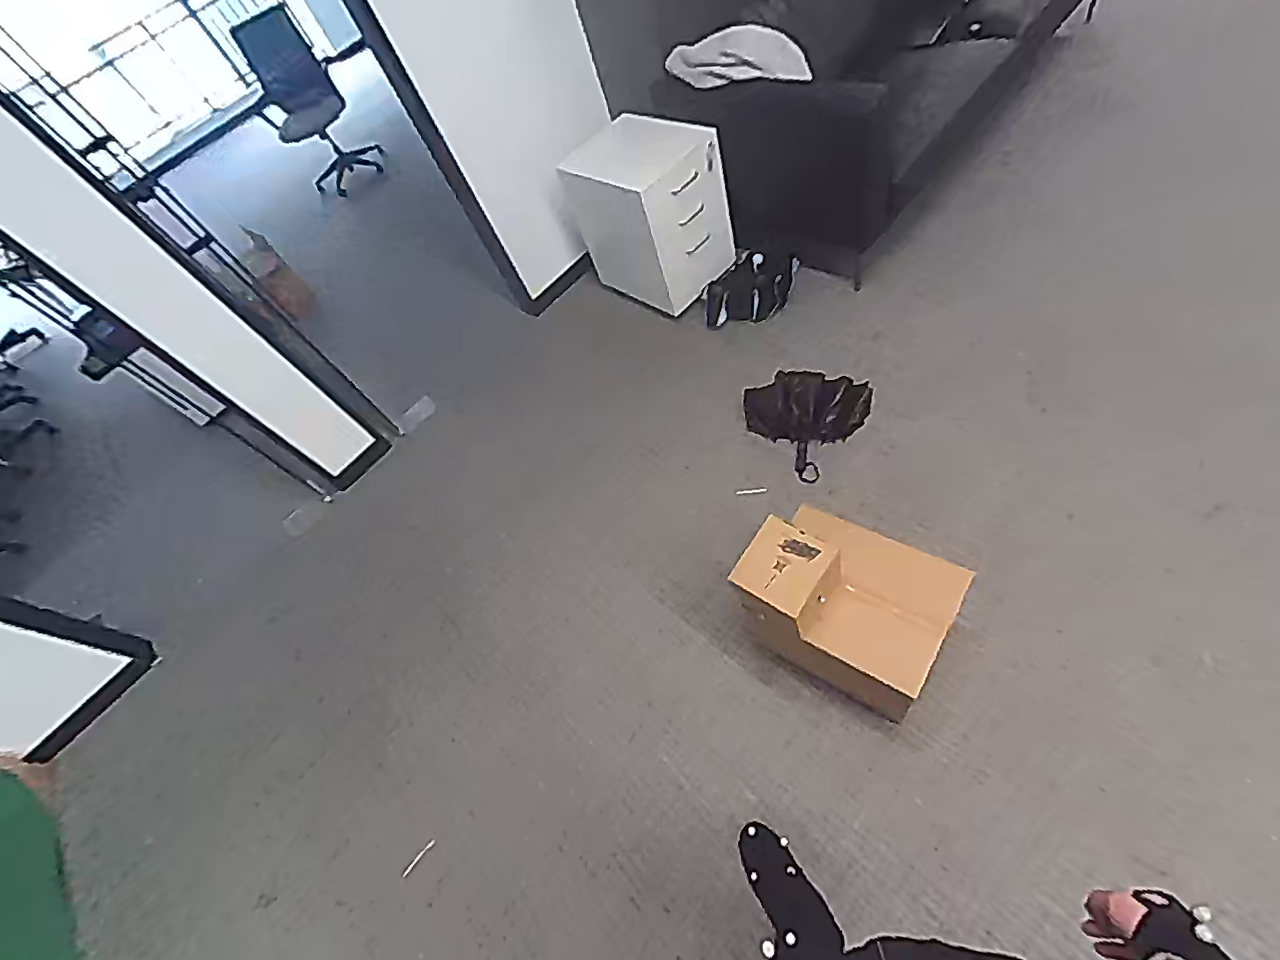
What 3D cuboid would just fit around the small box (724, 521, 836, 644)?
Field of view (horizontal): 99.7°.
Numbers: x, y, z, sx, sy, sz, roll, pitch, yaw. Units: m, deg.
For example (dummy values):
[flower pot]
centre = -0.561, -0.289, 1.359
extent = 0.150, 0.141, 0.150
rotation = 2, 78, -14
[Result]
[small box]
centre = 0.309, 0.225, 1.179
extent = 0.168, 0.176, 0.179
rotation = 28, 73, 33
